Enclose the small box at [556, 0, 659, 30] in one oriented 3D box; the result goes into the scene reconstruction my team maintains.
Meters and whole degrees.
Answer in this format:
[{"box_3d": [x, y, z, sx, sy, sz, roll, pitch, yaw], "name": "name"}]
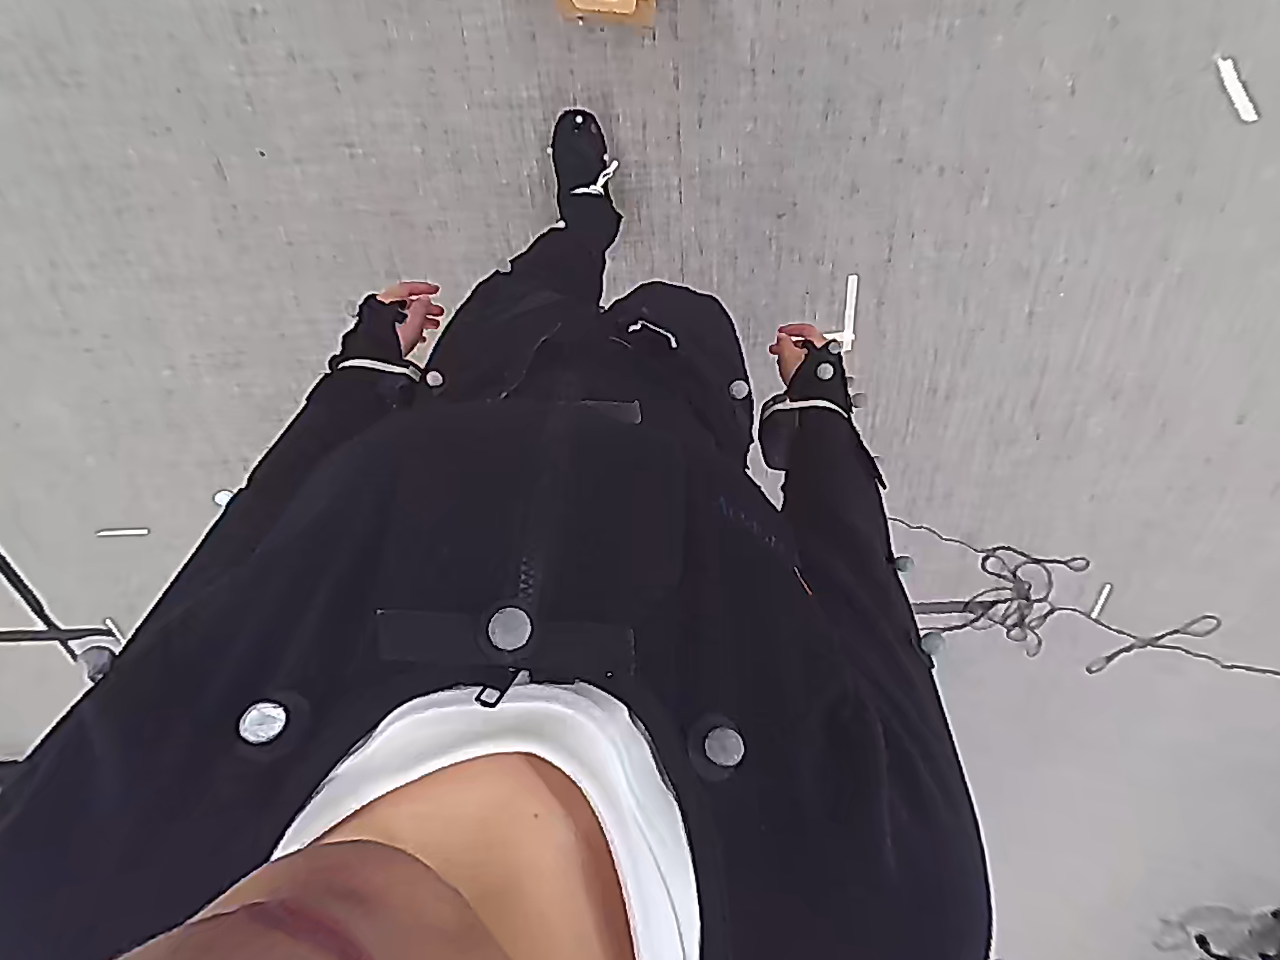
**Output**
[{"box_3d": [-0.046, -0.873, 0.891, 0.168, 0.176, 0.179, 4, 118, -2], "name": "small box"}]
